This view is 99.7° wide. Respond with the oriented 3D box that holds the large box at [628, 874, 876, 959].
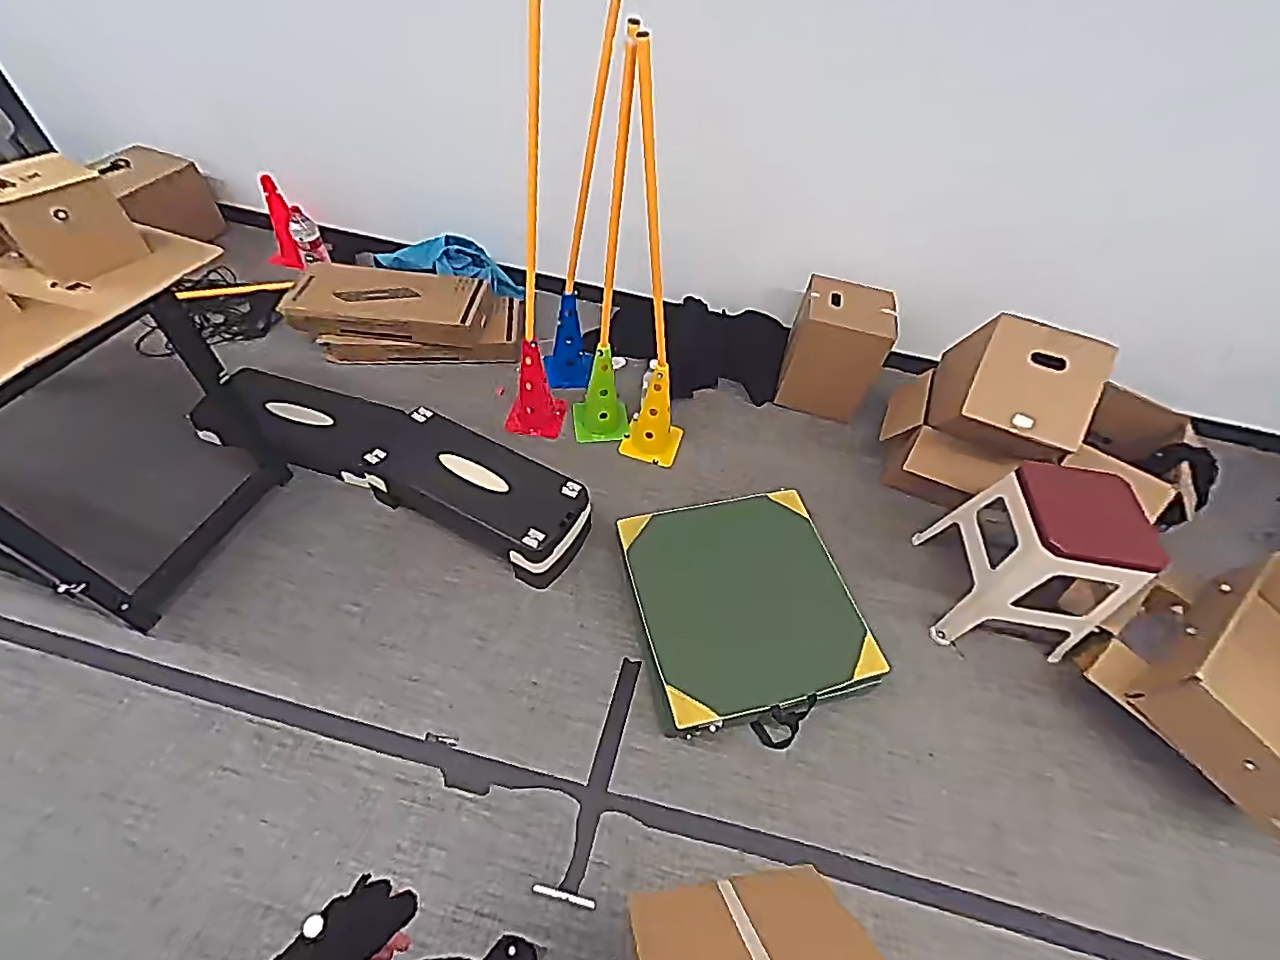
[{"bbox_3d":[0.172,0.787,0.665,0.320,0.408,0.320,-4,85,-9],"label":"large box"}]
